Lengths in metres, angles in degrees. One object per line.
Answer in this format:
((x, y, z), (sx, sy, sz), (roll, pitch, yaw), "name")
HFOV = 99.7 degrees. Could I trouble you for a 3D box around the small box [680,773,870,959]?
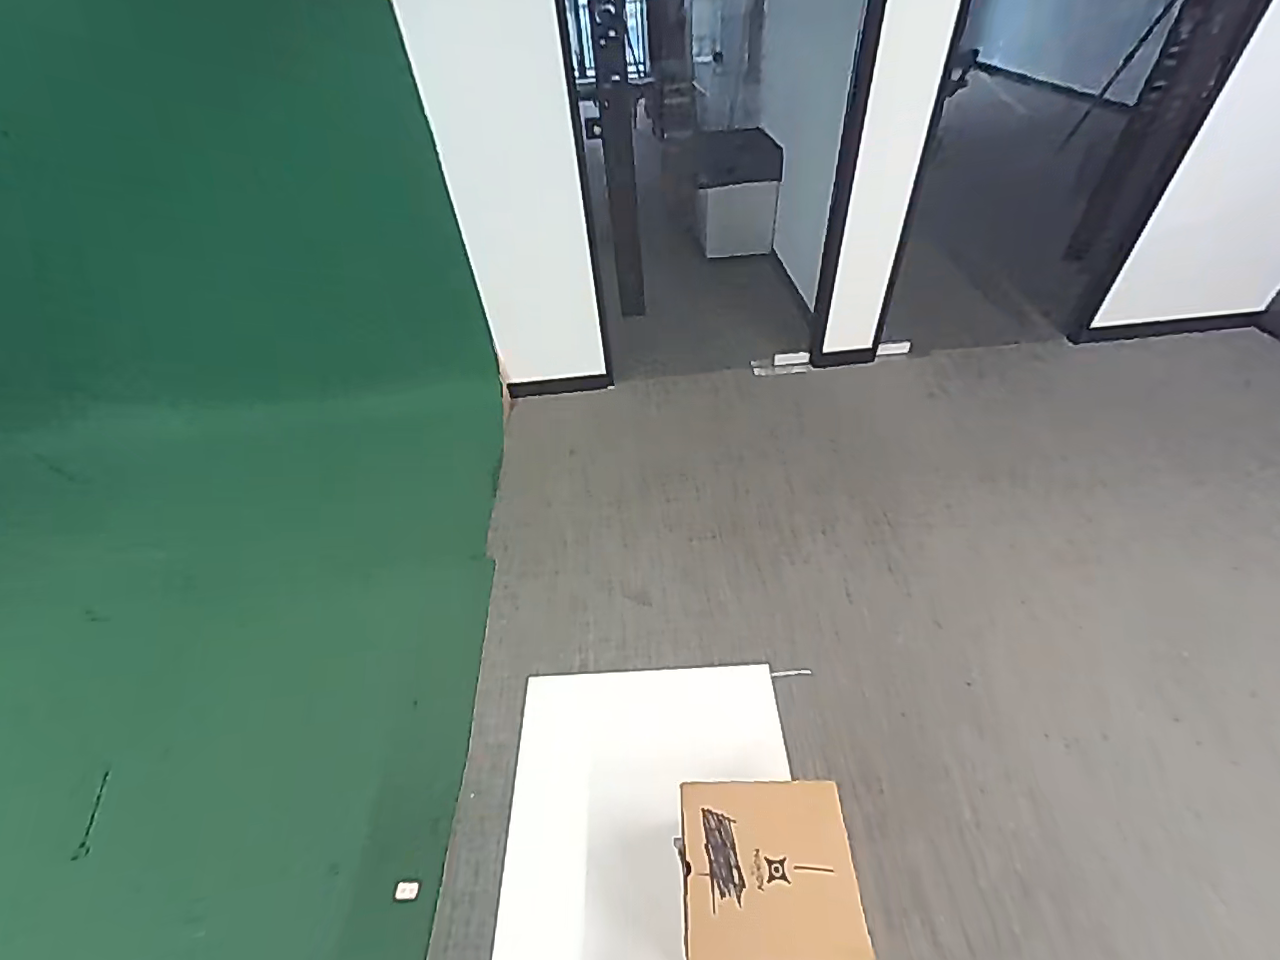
((0.139, 0.454, 0.621), (0.179, 0.176, 0.168), (-2, 45, 4), "small box")
